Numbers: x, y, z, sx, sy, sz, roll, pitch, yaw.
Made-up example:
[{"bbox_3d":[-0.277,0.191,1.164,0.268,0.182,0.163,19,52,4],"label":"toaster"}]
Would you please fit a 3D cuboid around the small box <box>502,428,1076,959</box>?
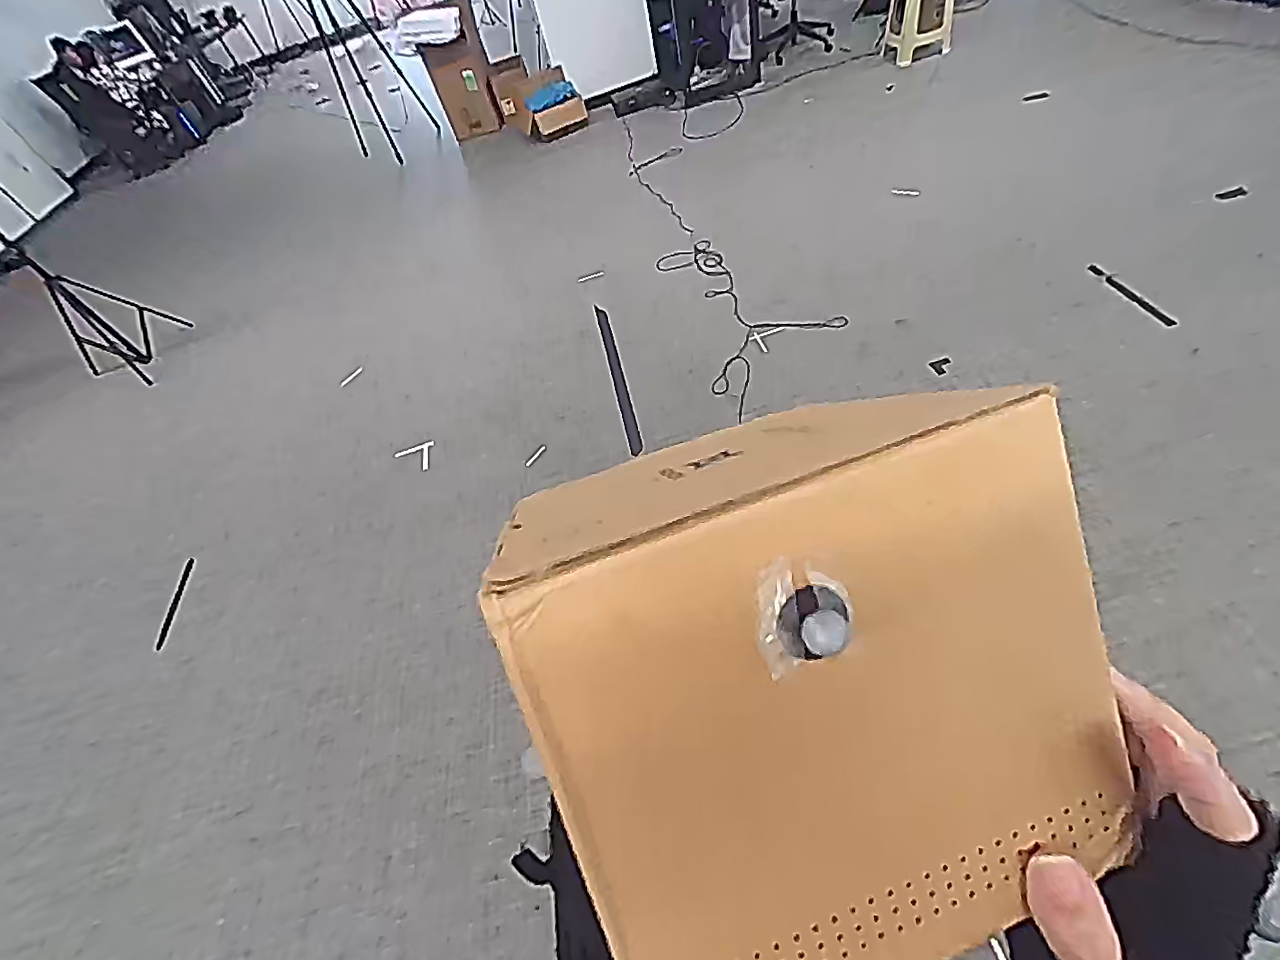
[{"bbox_3d":[0.054,0.083,0.255,0.179,0.176,0.168,-19,8,-7],"label":"small box"}]
